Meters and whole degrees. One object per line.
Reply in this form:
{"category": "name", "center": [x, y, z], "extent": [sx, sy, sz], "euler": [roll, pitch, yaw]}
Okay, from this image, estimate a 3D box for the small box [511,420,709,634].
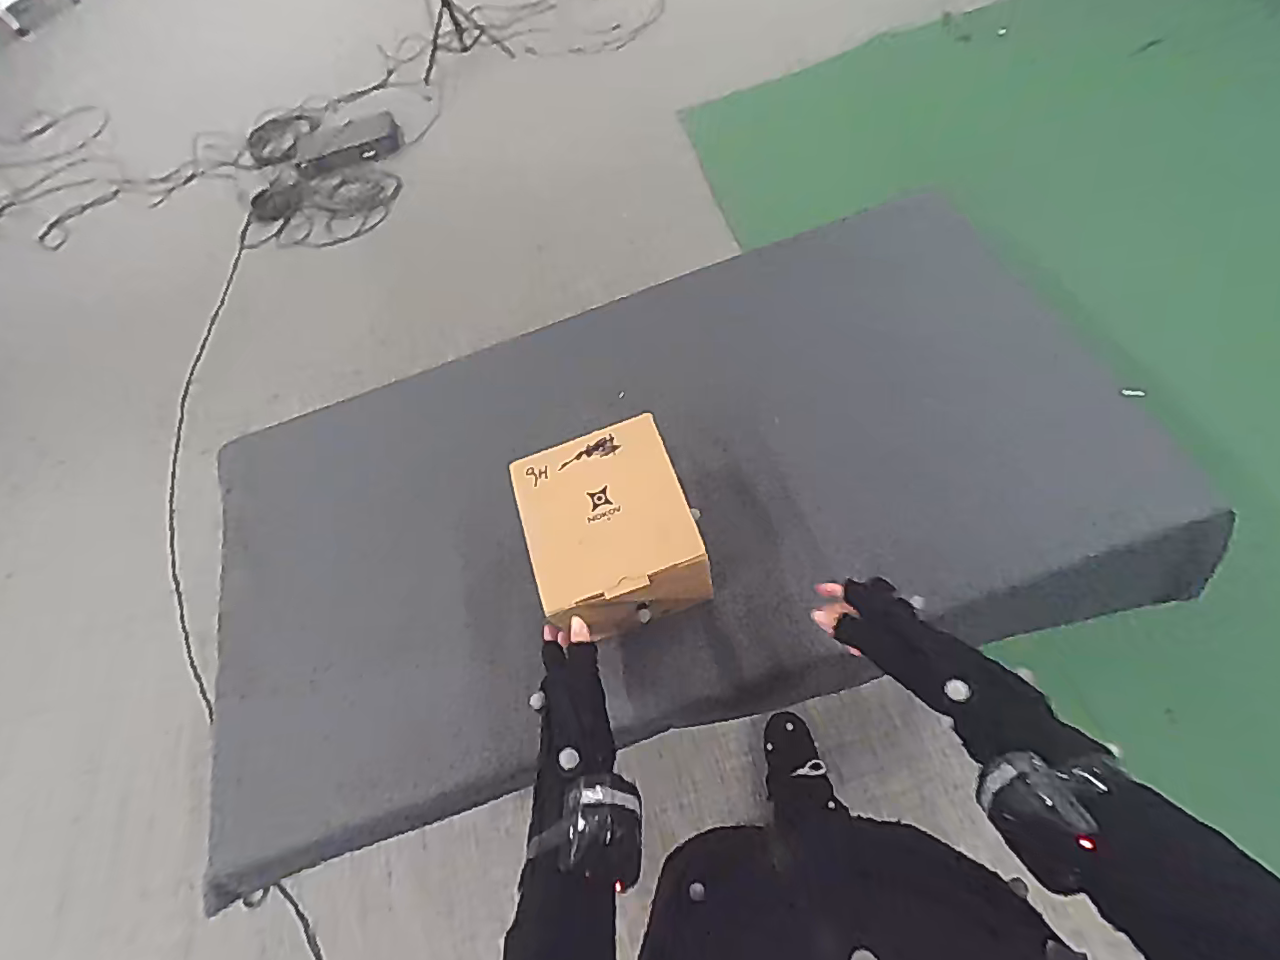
{"category": "small box", "center": [-0.025, 0.066, 0.620], "extent": [0.168, 0.176, 0.179], "euler": [-20, 64, 0]}
